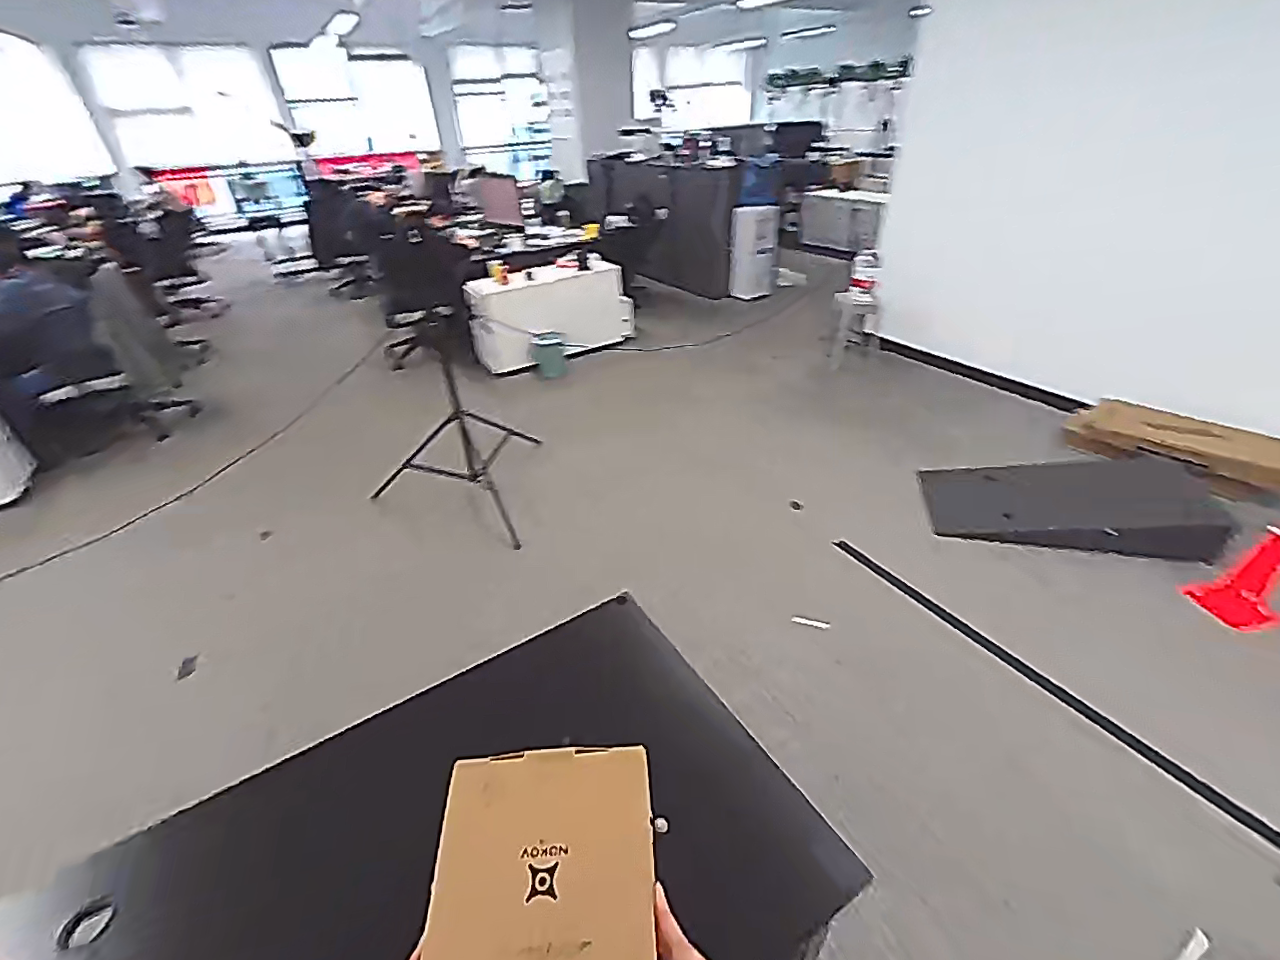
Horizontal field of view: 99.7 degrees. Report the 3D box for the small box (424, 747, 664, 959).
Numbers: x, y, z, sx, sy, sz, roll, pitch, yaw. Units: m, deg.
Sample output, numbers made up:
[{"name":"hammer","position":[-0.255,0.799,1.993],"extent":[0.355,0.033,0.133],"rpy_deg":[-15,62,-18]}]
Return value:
[{"name":"small box","position":[-0.066,0.353,0.462],"extent":[0.168,0.176,0.179],"rpy_deg":[-4,45,1]}]
